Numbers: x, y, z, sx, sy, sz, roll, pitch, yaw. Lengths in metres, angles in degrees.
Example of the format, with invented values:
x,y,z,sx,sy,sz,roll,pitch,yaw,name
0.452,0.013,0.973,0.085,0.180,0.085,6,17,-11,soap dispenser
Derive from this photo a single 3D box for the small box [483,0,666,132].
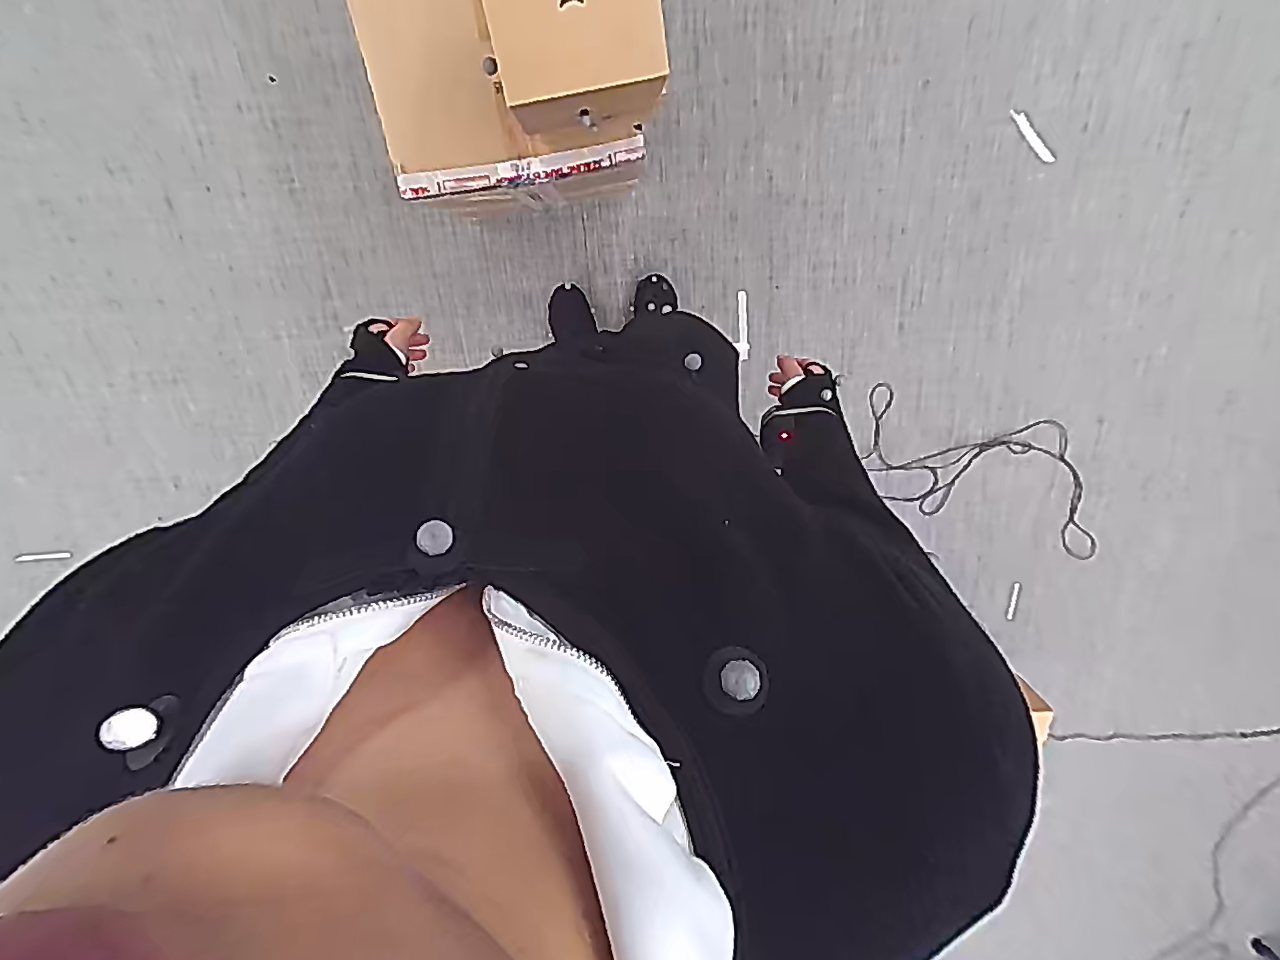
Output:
x,y,z,sx,sy,sz,roll,pitch,yaw,name
-0.072,-0.490,0.574,0.168,0.176,0.179,-11,114,-1,small box

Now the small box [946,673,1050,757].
x,y,z,sx,sy,sz,roll,pitch,yaw,name
1.050,0.691,1.599,0.179,0.176,0.168,1,110,-2,small box

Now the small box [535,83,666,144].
x,y,z,sx,sy,sz,roll,pitch,yaw,name
-0.072,-0.567,0.721,0.179,0.176,0.168,-11,114,1,small box
